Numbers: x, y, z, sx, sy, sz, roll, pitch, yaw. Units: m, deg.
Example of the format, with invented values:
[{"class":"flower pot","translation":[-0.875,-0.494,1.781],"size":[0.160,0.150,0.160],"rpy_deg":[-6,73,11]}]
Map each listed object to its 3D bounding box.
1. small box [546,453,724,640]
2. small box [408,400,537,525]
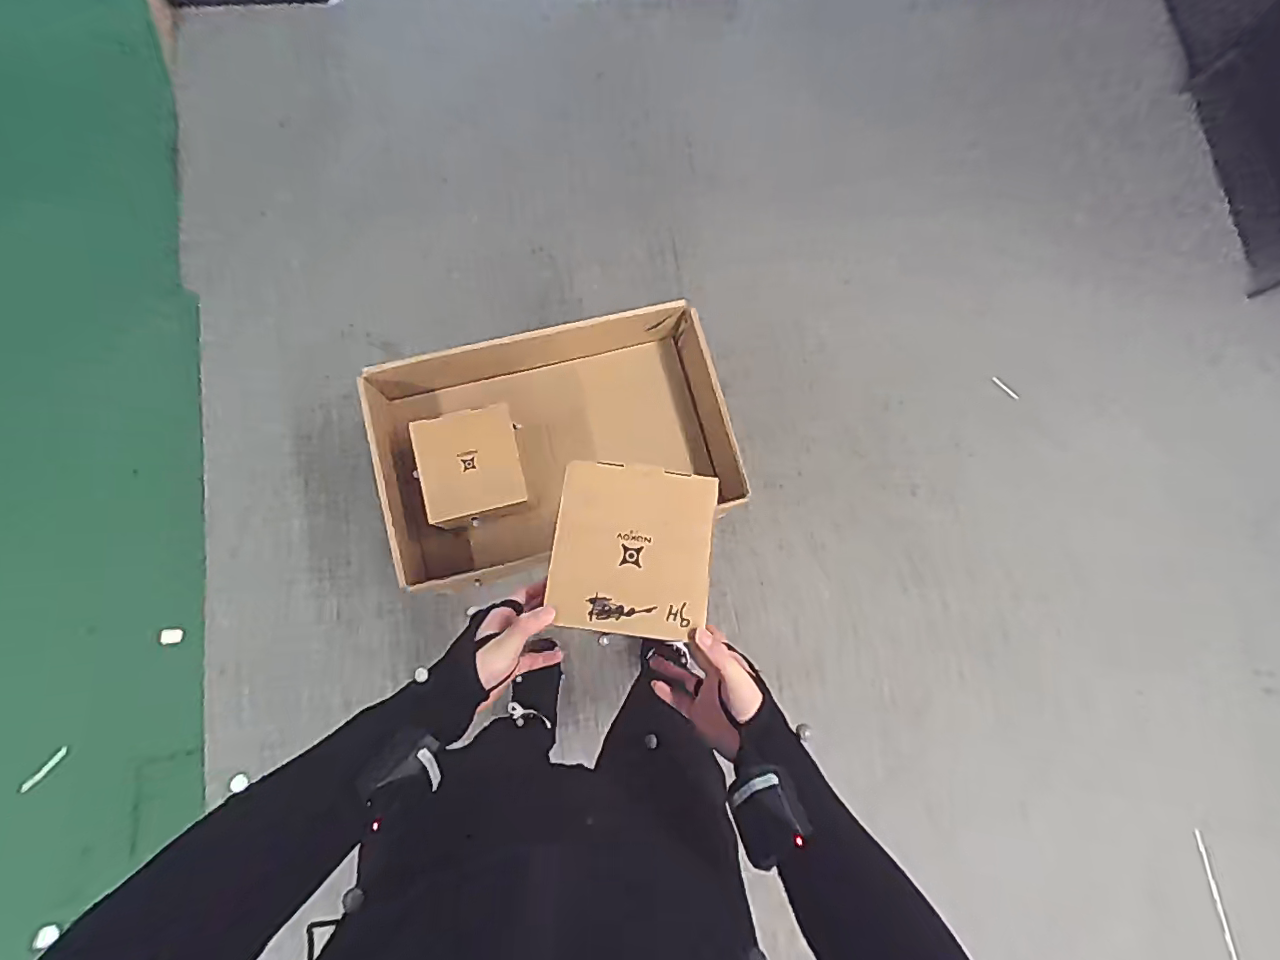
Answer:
[{"class":"small box","translation":[-0.005,0.086,0.628],"size":[0.168,0.176,0.179],"rpy_deg":[8,74,0]},{"class":"small box","translation":[-0.286,-0.021,0.958],"size":[0.168,0.176,0.179],"rpy_deg":[-14,81,-7]}]
